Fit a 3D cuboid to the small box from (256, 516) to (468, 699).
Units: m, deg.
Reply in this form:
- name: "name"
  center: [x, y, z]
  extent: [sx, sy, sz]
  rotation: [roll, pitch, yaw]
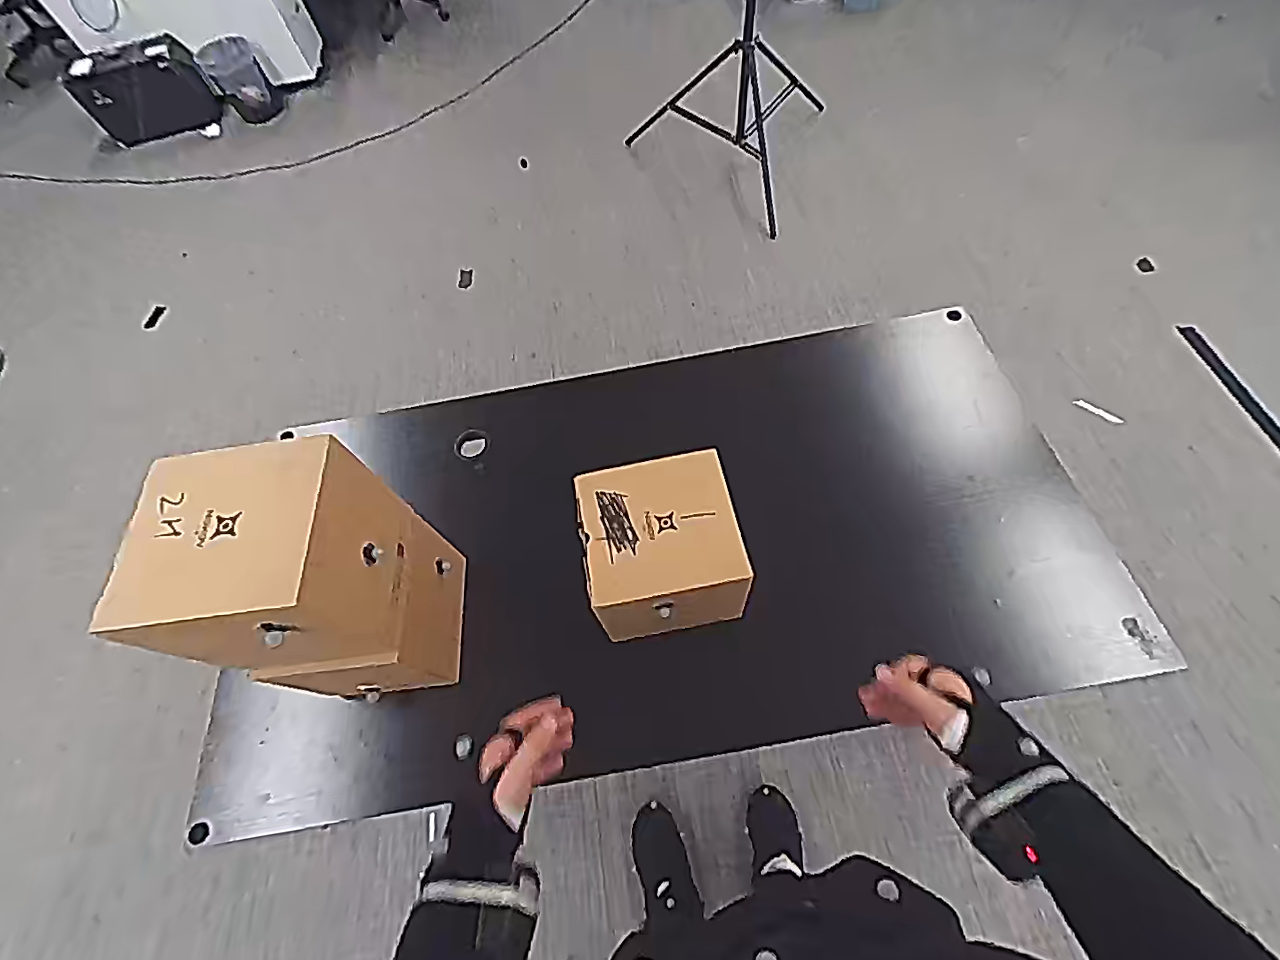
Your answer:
- name: "small box"
  center: [-0.326, 0.165, 0.676]
  extent: [0.168, 0.176, 0.179]
  rotation: [-8, 62, 3]

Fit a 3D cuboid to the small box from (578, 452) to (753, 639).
- name: "small box"
  center: [0.031, 0.090, 0.677]
  extent: [0.179, 0.176, 0.168]
  rotation: [-11, 62, -1]

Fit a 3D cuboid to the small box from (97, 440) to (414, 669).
- name: "small box"
  center: [-0.347, 0.082, 0.535]
  extent: [0.179, 0.176, 0.168]
  rotation: [-8, 61, 3]
